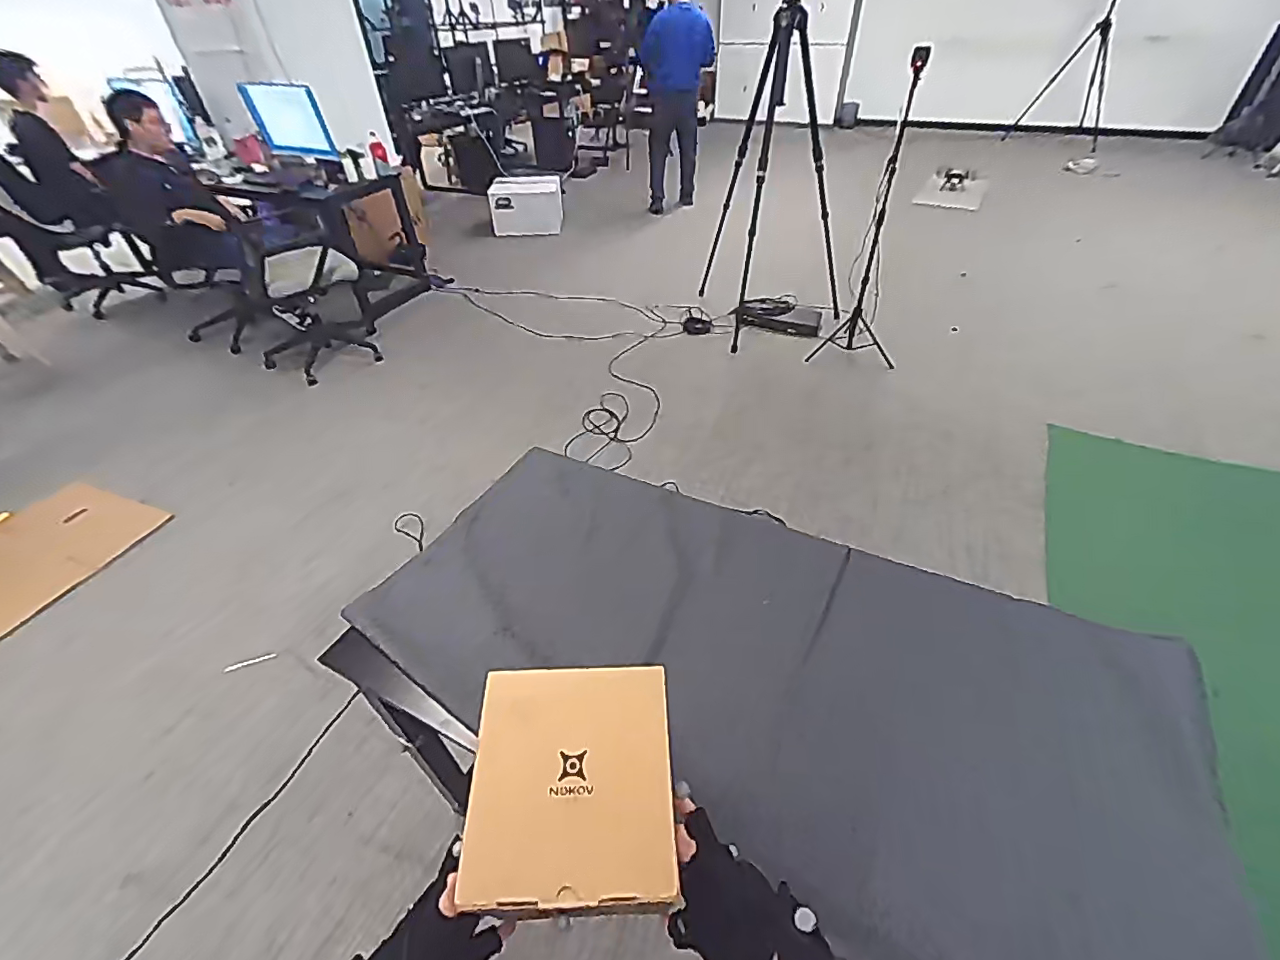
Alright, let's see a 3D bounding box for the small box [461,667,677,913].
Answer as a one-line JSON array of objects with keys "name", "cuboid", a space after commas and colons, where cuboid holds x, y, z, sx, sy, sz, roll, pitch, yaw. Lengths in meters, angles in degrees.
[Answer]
[{"name": "small box", "cuboid": [-0.057, 0.298, 0.519, 0.168, 0.176, 0.179, -1, 50, -2]}]
